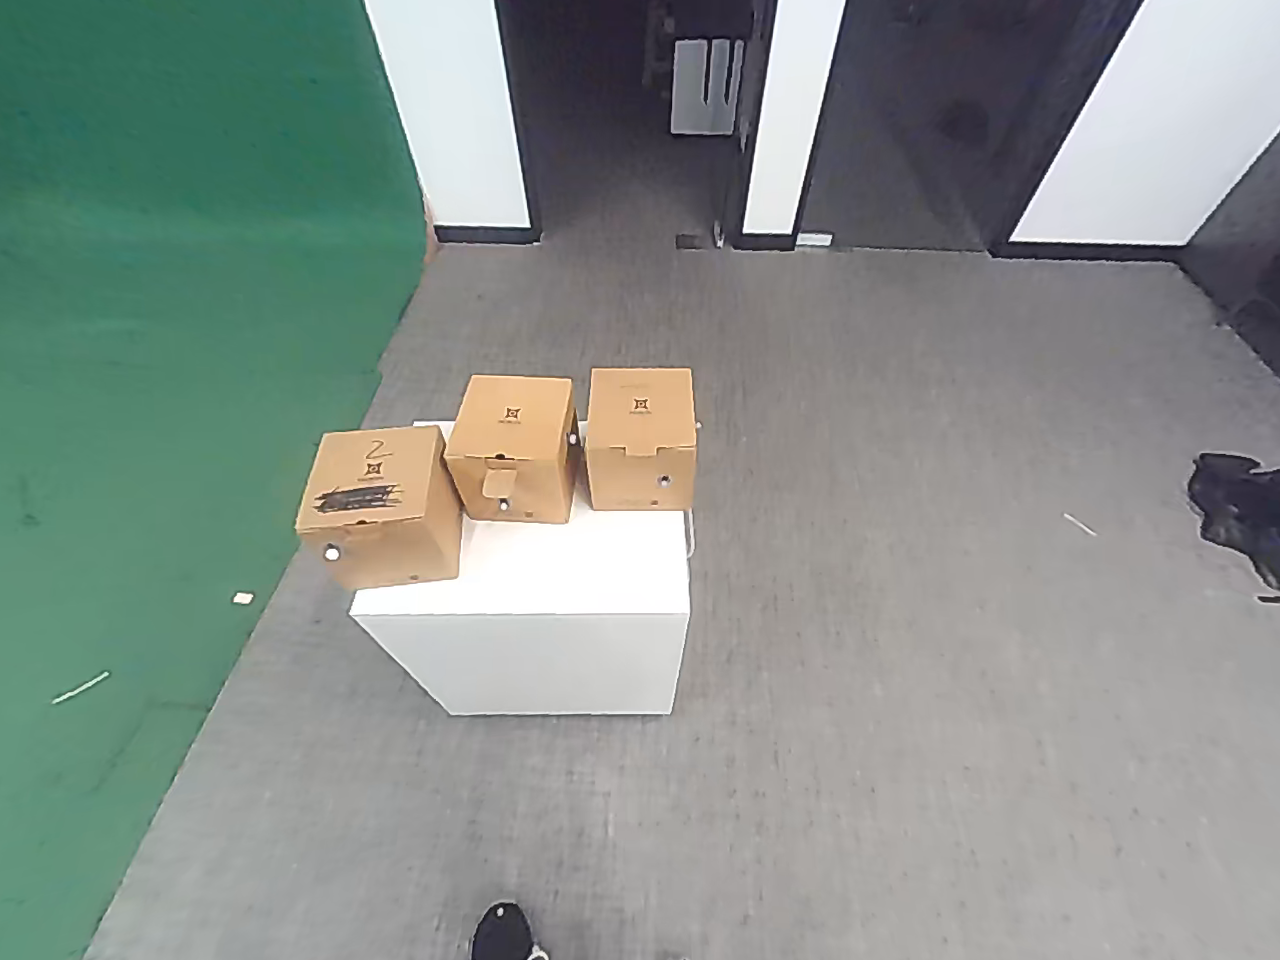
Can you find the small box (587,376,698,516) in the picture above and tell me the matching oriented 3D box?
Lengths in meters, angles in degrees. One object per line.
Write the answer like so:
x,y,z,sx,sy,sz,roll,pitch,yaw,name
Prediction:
0.005,-0.053,0.899,0.168,0.176,0.179,0,51,-1,small box
